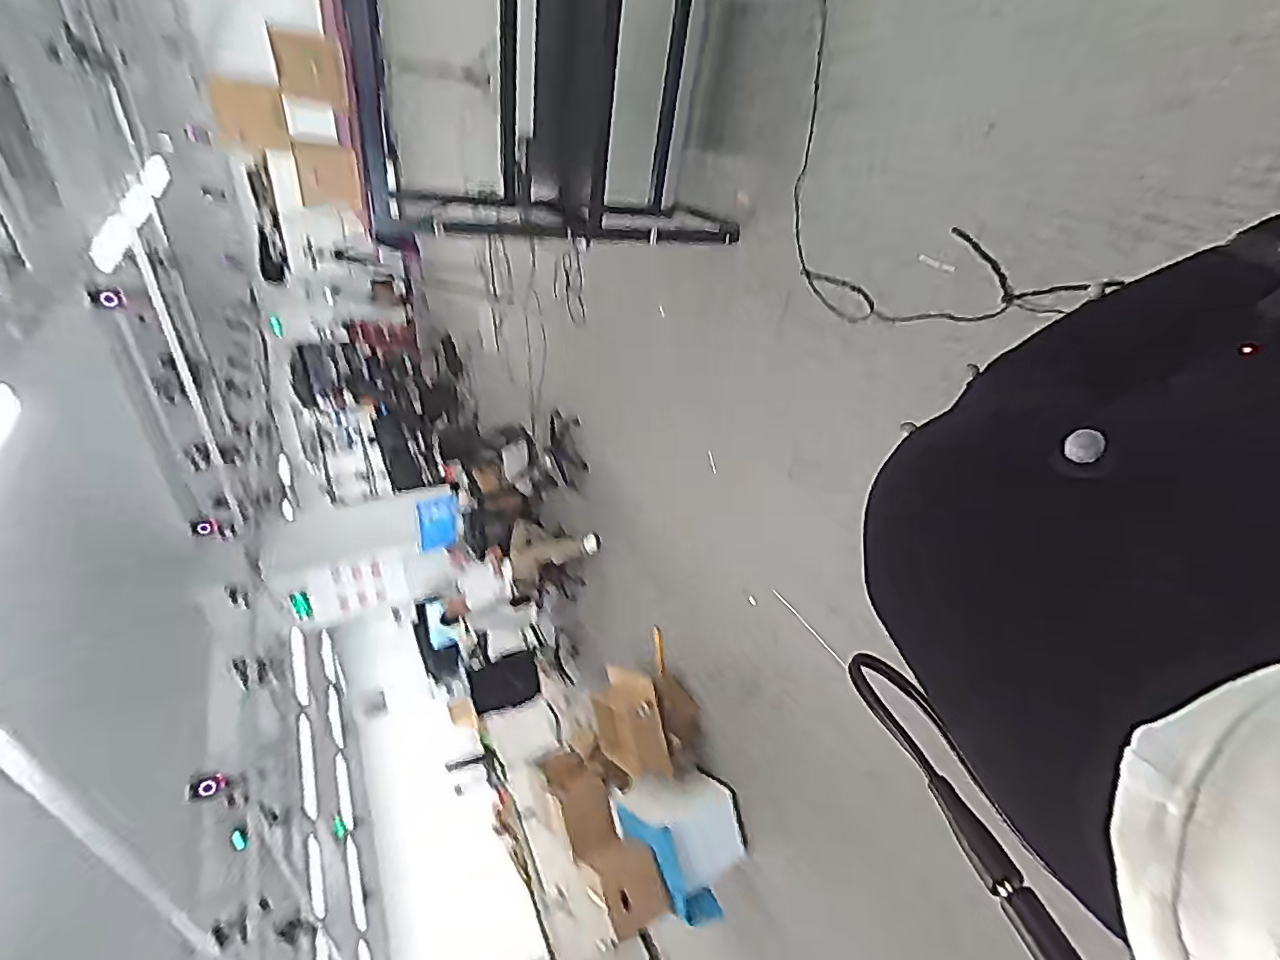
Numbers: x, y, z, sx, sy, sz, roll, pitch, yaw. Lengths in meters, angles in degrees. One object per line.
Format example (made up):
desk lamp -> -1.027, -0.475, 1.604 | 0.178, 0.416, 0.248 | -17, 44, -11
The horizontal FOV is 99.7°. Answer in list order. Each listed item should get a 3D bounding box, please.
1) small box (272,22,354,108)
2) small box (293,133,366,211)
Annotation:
small box -> -0.896, -1.142, 1.492 | 0.179, 0.176, 0.168 | 50, 140, 43
small box -> -0.939, -0.930, 1.639 | 0.168, 0.176, 0.179 | 48, 138, 44
